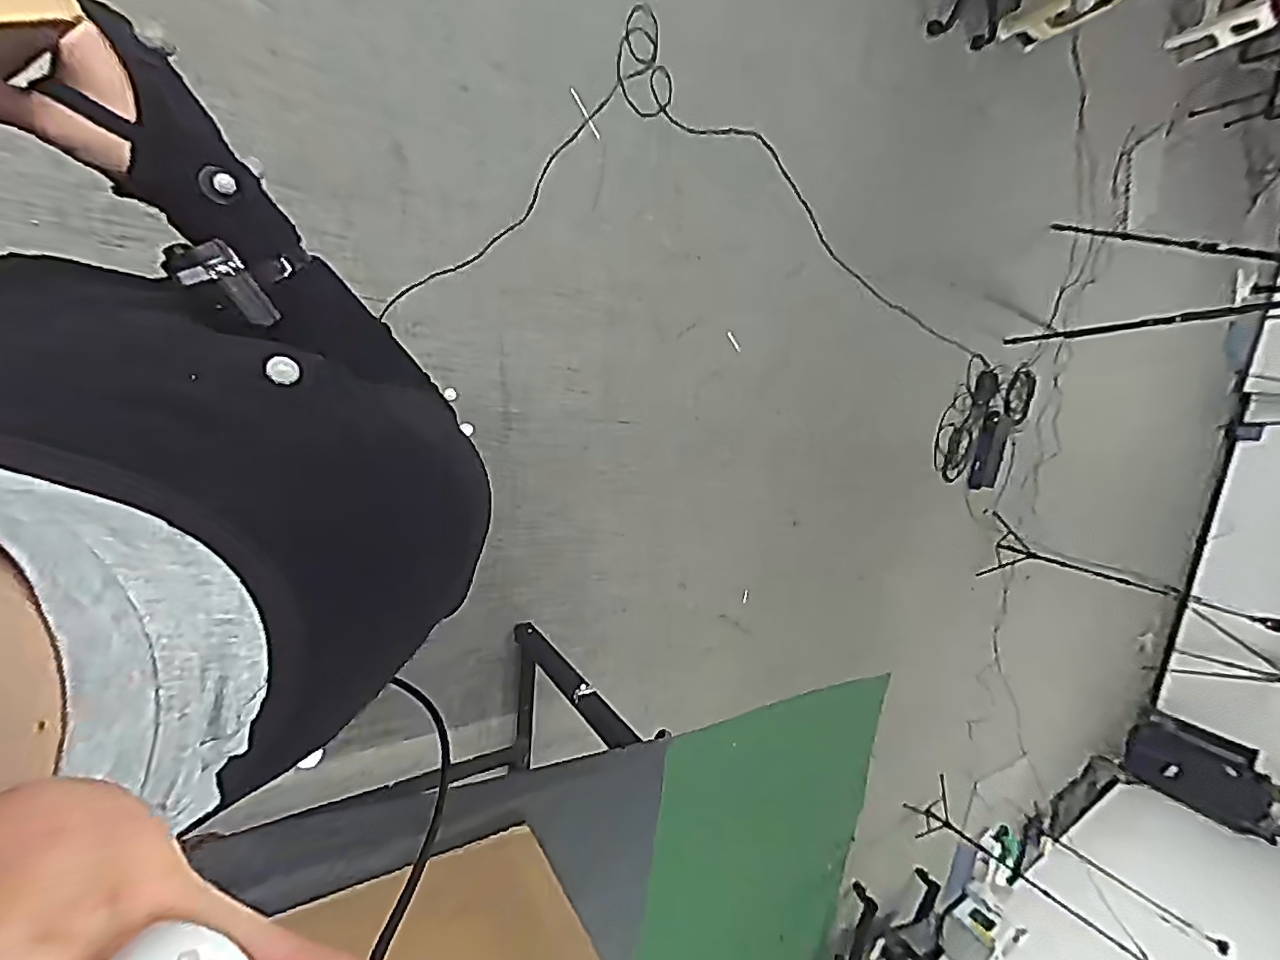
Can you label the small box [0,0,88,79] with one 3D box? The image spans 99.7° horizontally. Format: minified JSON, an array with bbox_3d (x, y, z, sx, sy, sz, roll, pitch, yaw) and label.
[{"bbox_3d":[-0.386,-0.257,0.198,0.168,0.176,0.179,-48,139,-39],"label":"small box"}]
